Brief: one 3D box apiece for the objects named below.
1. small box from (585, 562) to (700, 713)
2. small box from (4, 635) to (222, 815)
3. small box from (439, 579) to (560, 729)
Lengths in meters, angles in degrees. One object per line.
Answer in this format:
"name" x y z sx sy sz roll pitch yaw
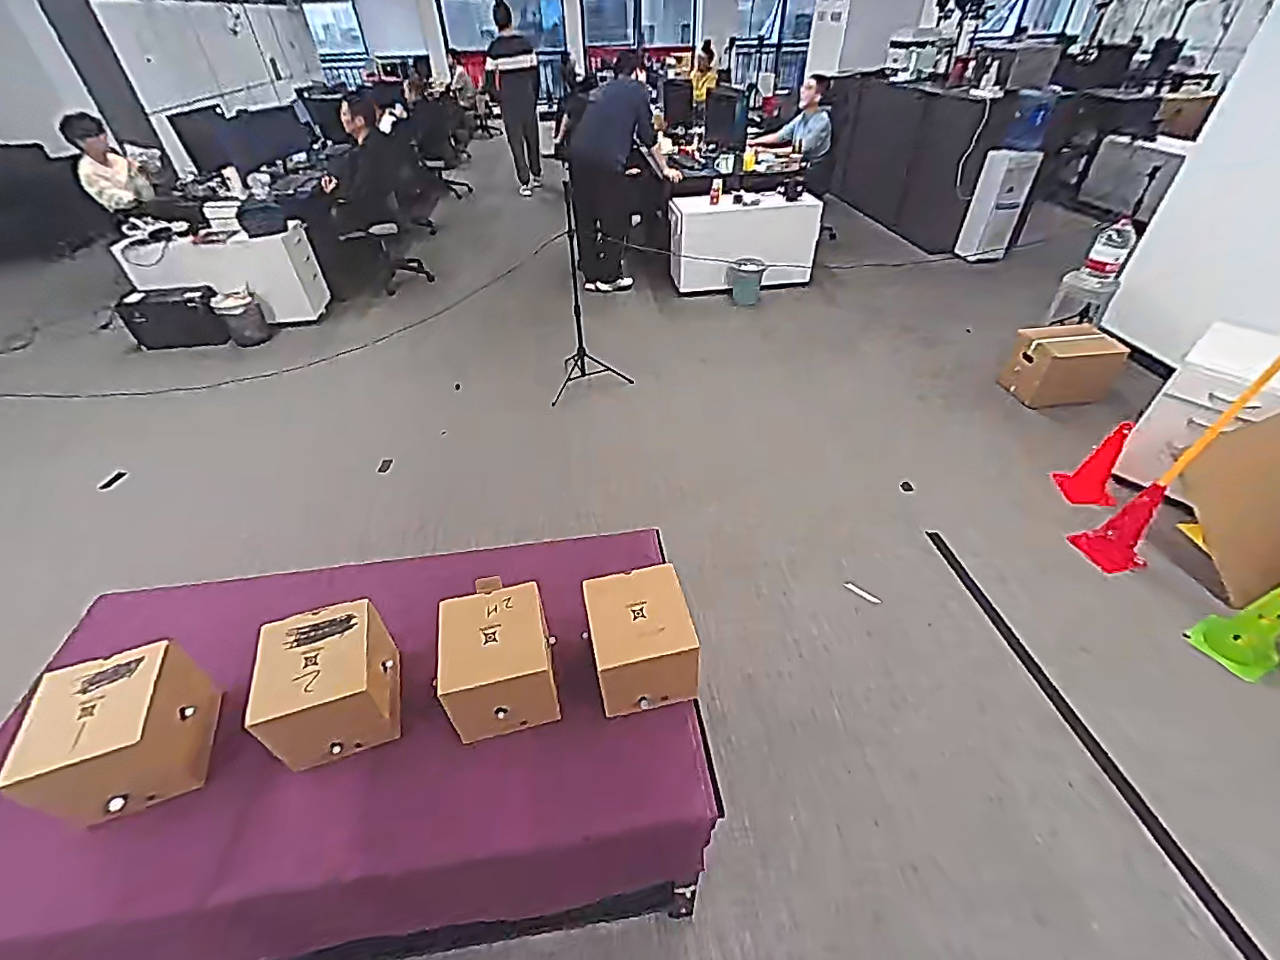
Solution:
"small box" 0.001 0.275 0.948 0.168 0.176 0.179 -10 41 -7
"small box" -0.798 0.383 0.849 0.168 0.176 0.179 -15 44 -15
"small box" -0.236 0.302 0.924 0.168 0.176 0.179 -10 42 -10
